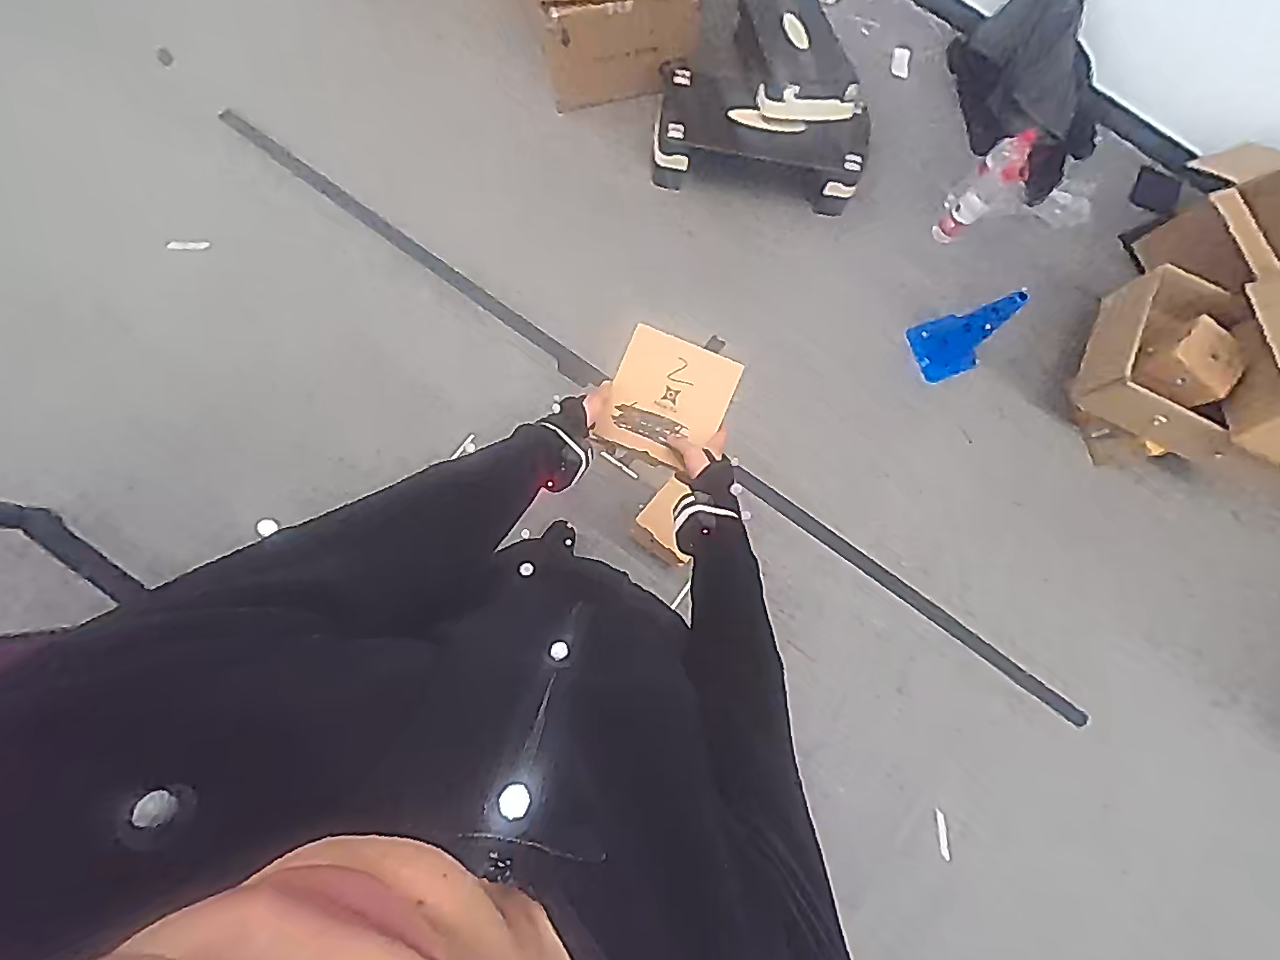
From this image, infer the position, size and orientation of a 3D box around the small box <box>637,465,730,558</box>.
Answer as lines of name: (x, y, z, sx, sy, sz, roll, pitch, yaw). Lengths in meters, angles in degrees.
small box: (0.105, 0.086, 1.418, 0.168, 0.176, 0.179, 40, 82, 2)

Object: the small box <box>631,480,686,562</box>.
small box: (0.091, 0.122, 1.576, 0.179, 0.176, 0.168, 36, 81, 3)
